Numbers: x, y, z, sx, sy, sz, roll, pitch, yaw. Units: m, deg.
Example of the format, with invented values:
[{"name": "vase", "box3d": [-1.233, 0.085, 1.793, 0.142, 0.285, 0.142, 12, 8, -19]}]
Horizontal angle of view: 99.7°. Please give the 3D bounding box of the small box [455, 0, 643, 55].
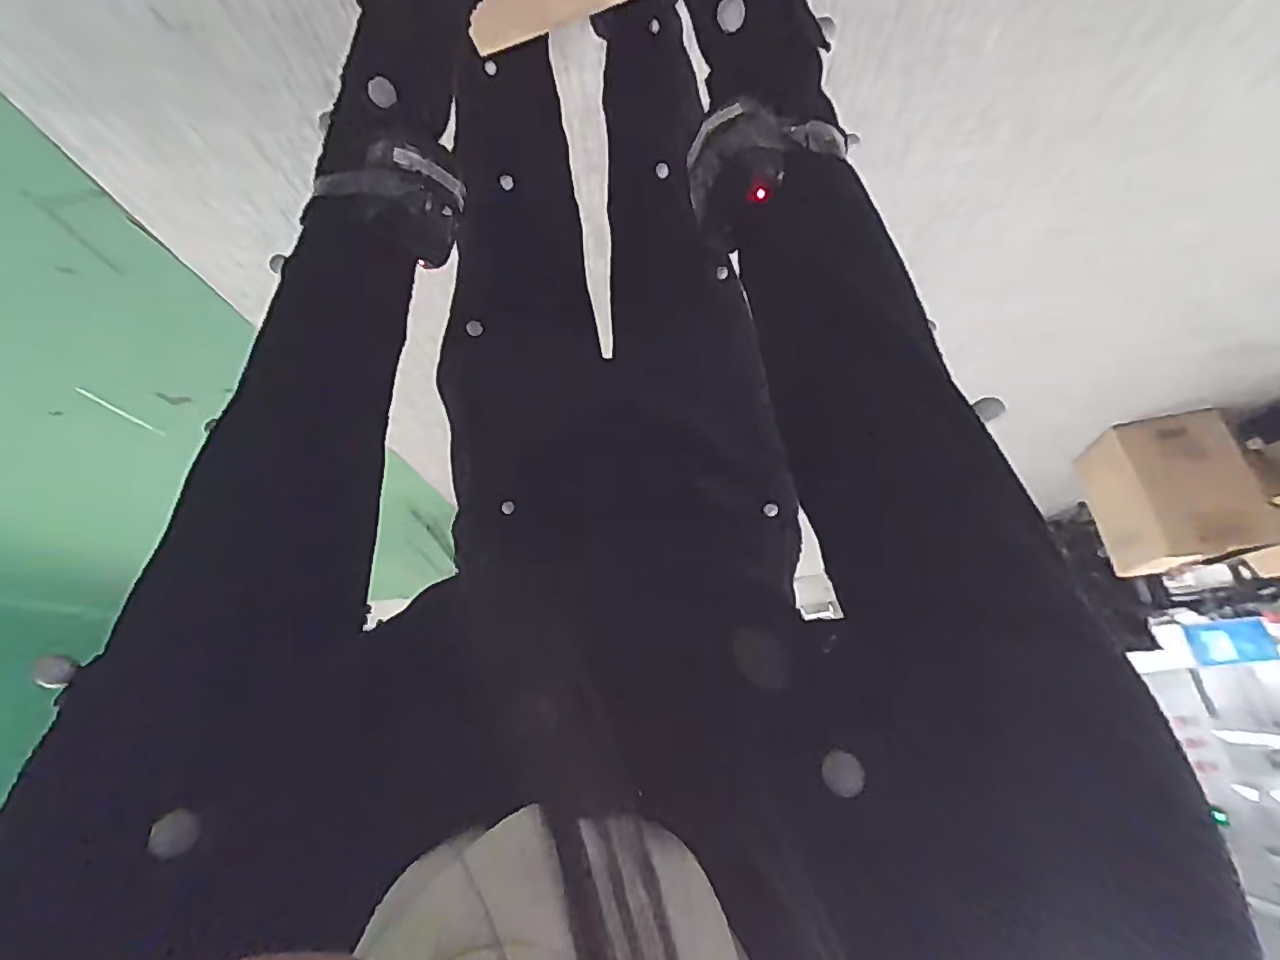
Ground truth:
[{"name": "small box", "box3d": [-0.065, -0.443, 0.357, 0.179, 0.176, 0.168, -9, 156, 13]}]
